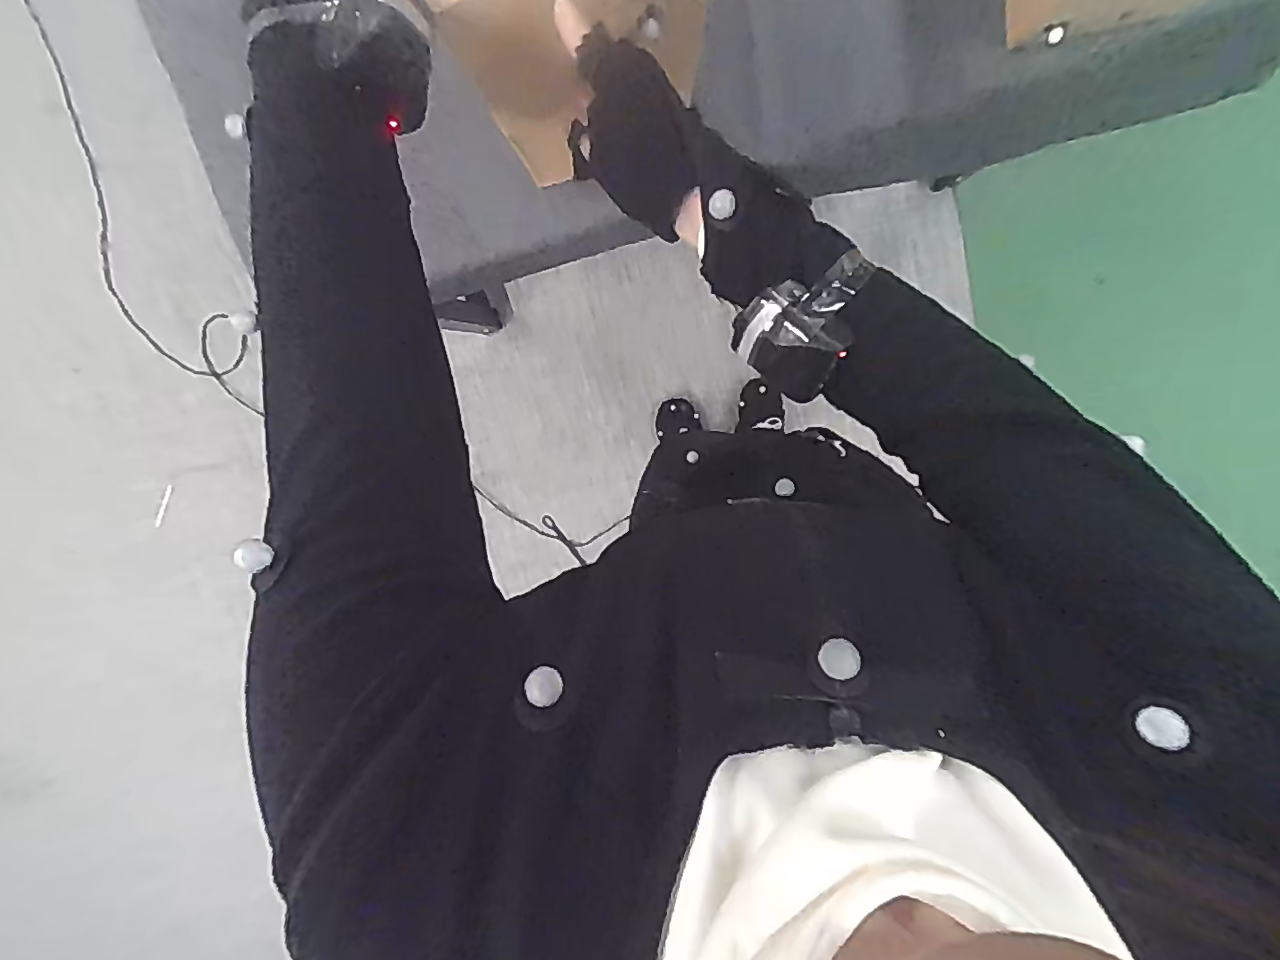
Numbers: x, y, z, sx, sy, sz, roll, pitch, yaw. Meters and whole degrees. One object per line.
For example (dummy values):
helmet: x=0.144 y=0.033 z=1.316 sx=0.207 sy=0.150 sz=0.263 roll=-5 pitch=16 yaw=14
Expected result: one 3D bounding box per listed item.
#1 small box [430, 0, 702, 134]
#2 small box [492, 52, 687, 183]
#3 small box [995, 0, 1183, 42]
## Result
small box: x=-0.059 y=-0.382 z=0.370 sx=0.179 sy=0.176 sz=0.168 roll=-19 pitch=100 yaw=6
small box: x=-0.056 y=-0.422 z=0.531 sx=0.179 sy=0.176 sz=0.168 roll=-13 pitch=100 yaw=5
small box: x=0.442 y=-0.531 z=0.477 sx=0.168 sy=0.176 sz=0.179 roll=-7 pitch=100 yaw=6
